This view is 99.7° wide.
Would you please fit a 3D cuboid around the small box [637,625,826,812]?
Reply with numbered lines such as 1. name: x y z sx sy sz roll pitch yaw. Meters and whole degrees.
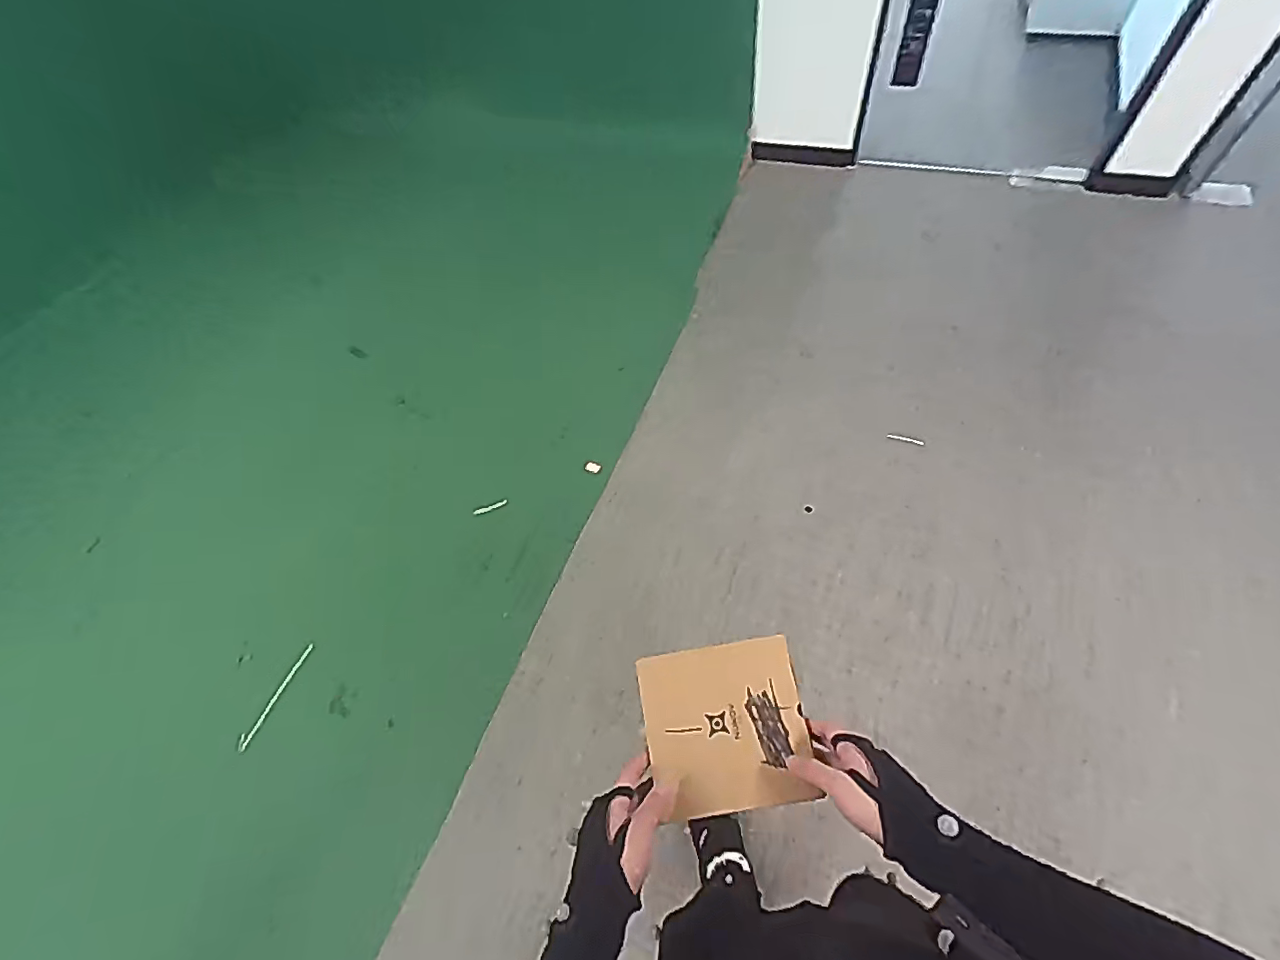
1. small box: 0.099 0.279 0.647 0.179 0.176 0.168 -10 66 2
